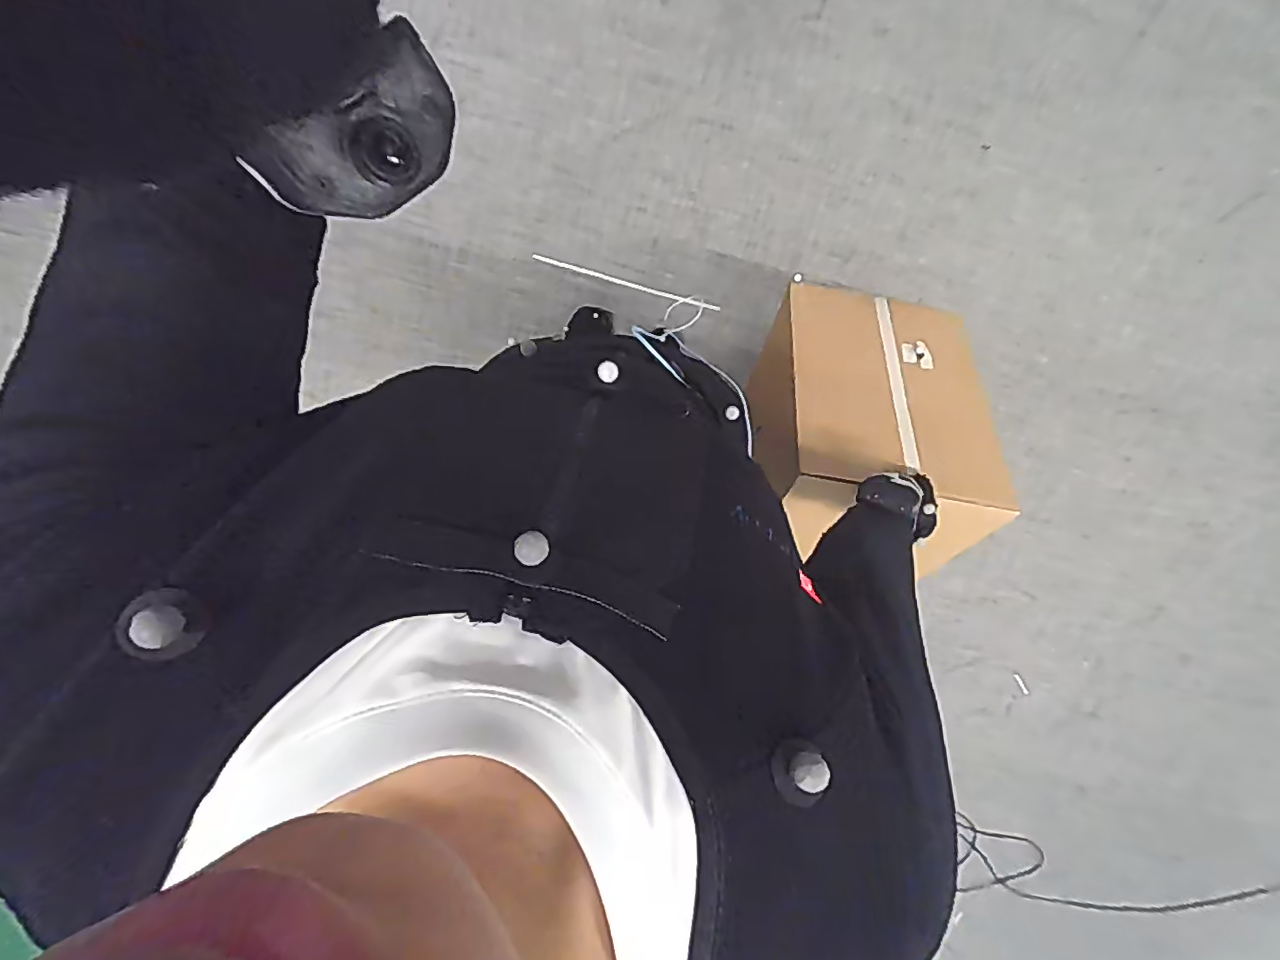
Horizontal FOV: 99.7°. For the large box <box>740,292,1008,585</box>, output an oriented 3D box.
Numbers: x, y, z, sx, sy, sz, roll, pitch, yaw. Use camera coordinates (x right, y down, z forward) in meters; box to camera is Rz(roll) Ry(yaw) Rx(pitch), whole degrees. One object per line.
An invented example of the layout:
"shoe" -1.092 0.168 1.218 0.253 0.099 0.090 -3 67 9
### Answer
"large box" 0.367 -0.065 0.974 0.320 0.408 0.320 10 147 -3
